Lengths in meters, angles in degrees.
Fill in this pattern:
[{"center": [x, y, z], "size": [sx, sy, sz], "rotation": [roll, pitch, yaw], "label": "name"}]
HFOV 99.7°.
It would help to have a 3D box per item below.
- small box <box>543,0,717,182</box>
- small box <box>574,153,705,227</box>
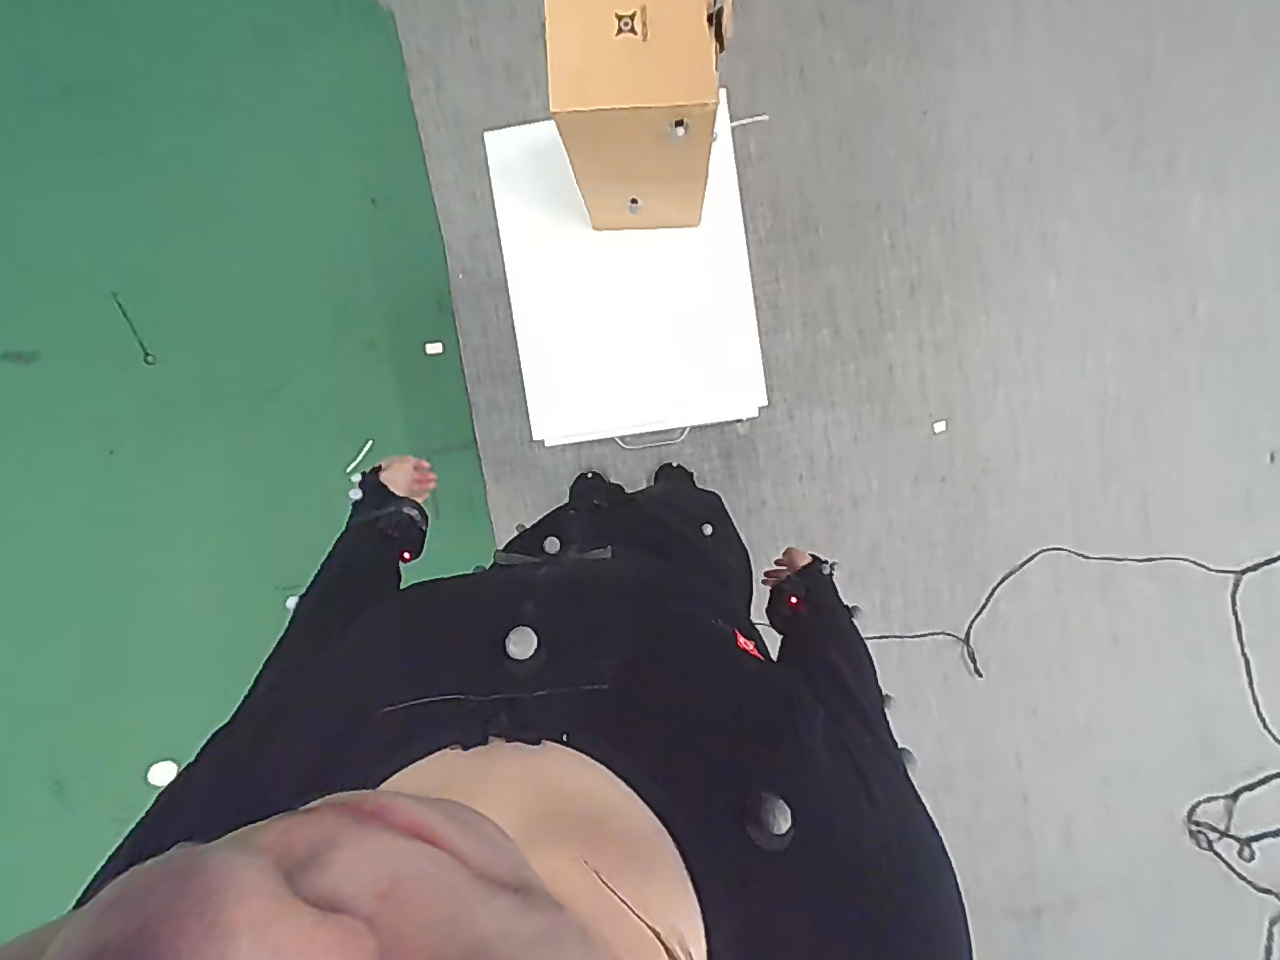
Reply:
[{"center": [-0.007, -0.467, 0.625], "size": [0.179, 0.176, 0.168], "rotation": [-2, 94, 1], "label": "small box"}, {"center": [0.003, -0.483, 0.787], "size": [0.179, 0.176, 0.168], "rotation": [-1, 95, 3], "label": "small box"}]
